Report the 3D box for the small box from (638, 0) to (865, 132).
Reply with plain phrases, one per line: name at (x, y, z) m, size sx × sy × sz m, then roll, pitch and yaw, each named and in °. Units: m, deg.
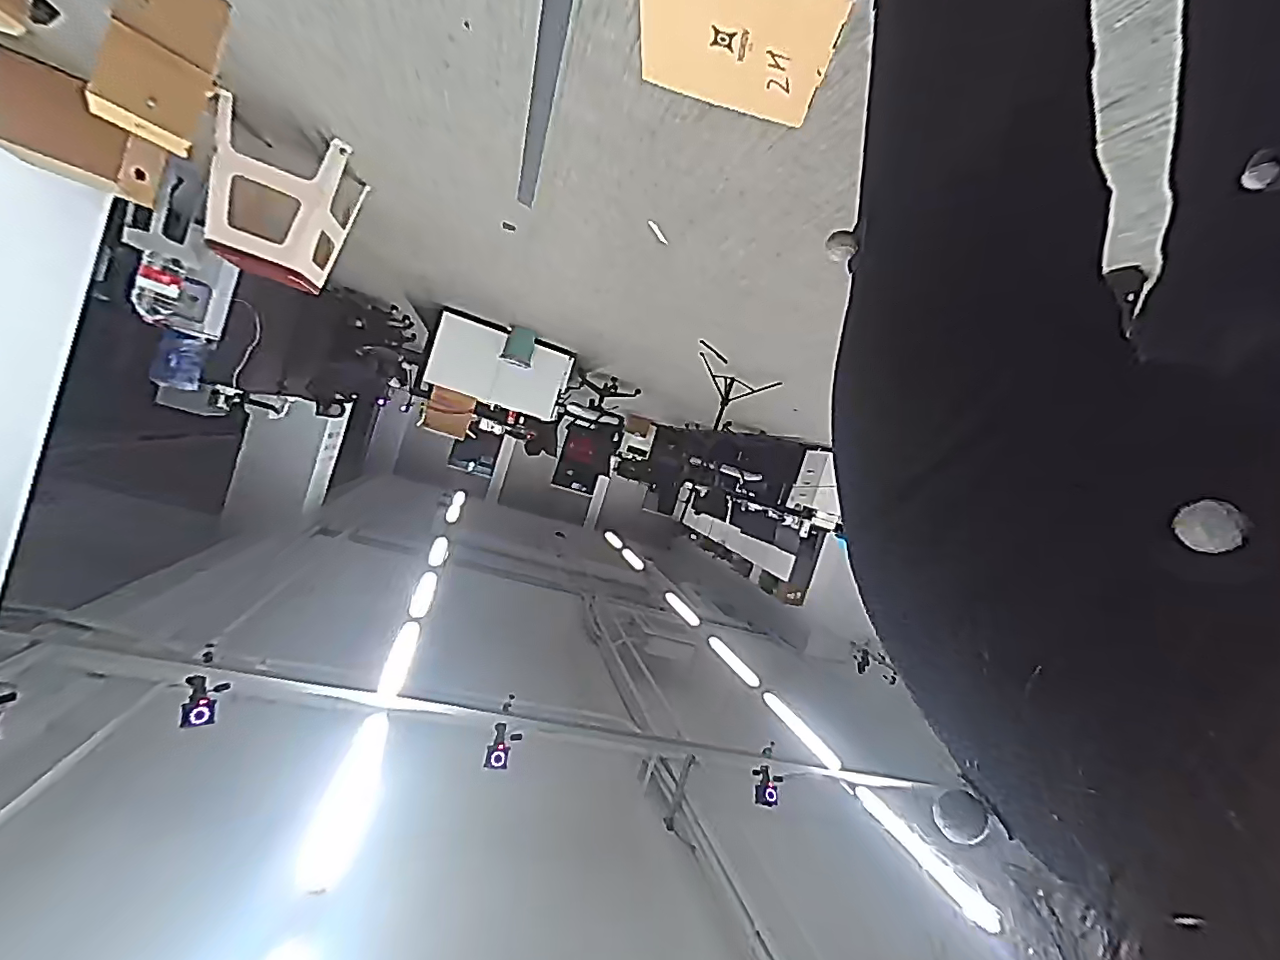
small box at (0.108, -0.466, 0.484) m, size 0.179 × 0.176 × 0.168 m, roll 16°, pitch -177°, yaw -3°
